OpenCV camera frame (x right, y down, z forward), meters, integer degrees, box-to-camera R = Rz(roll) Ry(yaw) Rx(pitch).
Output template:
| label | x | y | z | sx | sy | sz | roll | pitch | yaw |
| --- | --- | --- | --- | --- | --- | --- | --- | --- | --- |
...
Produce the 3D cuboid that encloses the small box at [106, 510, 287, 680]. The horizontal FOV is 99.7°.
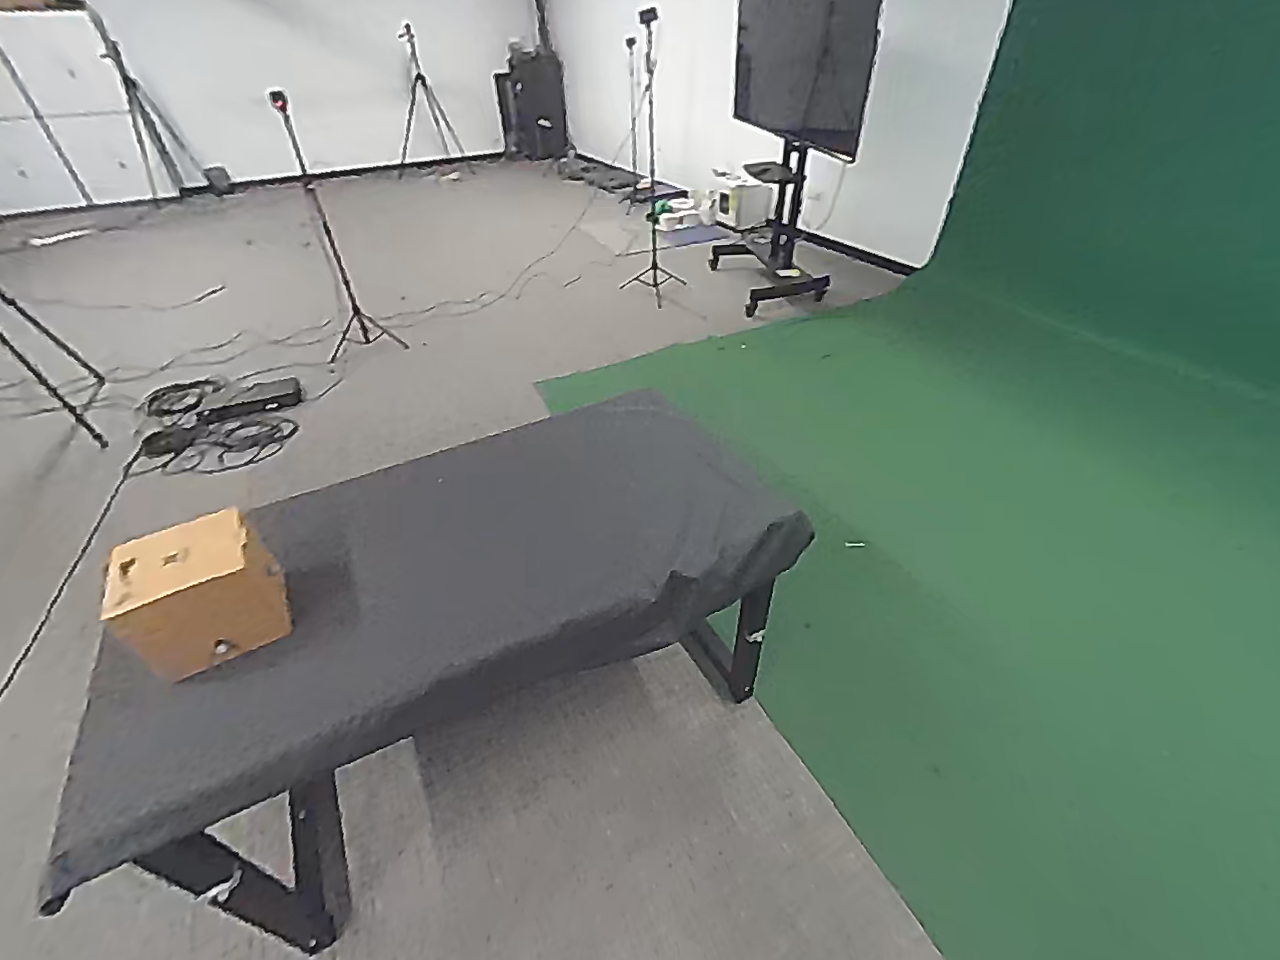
| label | x | y | z | sx | sy | sz | roll | pitch | yaw |
| --- | --- | --- | --- | --- | --- | --- | --- | --- | --- |
| small box | -0.698 | 0.183 | 0.876 | 0.179 | 0.176 | 0.168 | -22 | 43 | -24 |
